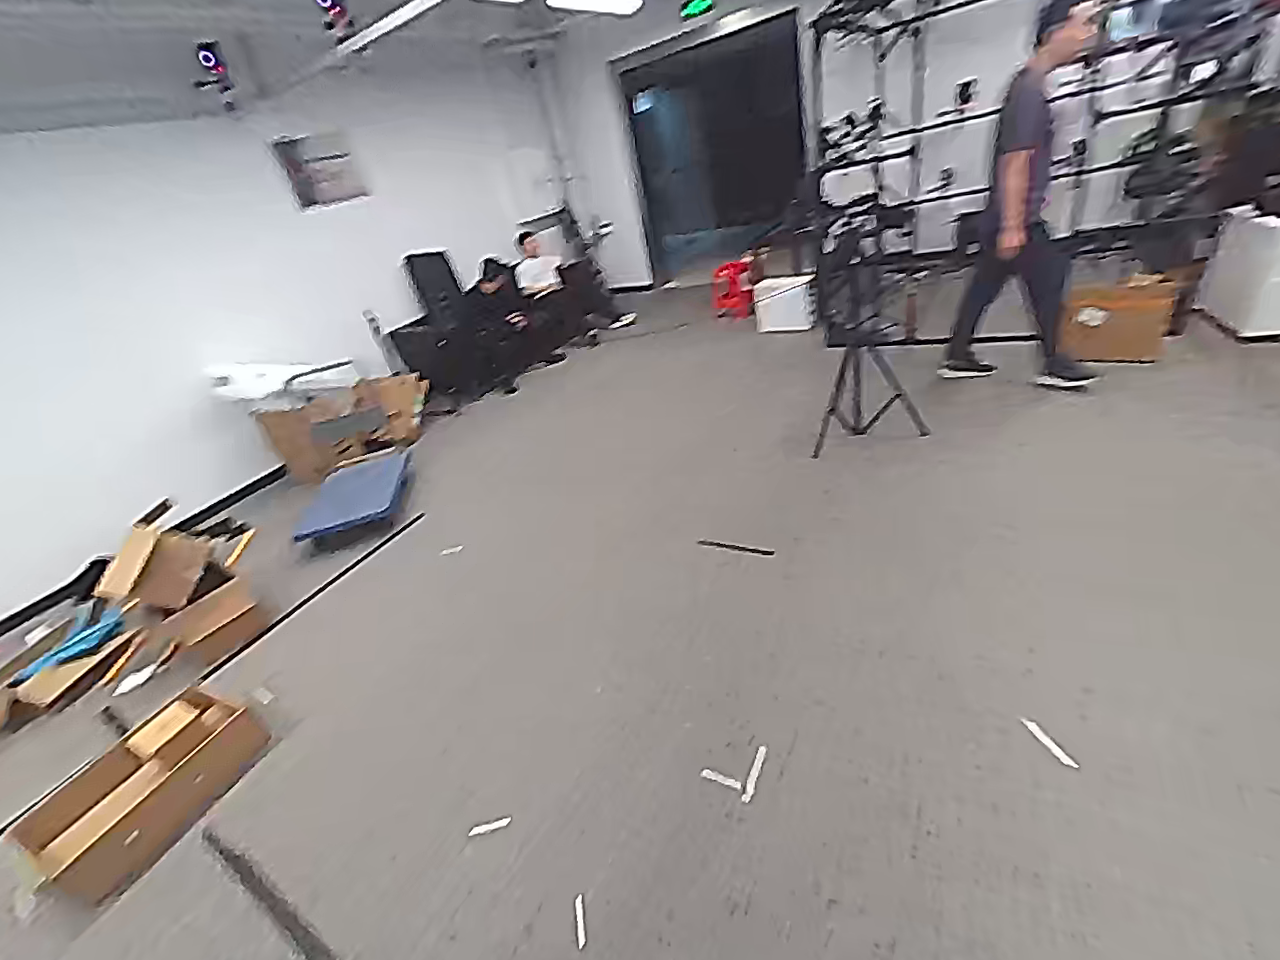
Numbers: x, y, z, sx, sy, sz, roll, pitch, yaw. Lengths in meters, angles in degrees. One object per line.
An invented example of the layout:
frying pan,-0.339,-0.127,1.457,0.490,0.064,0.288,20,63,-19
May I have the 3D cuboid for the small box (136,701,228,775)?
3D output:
small box,-1.688,0.955,1.998,0.179,0.176,0.168,4,35,29
